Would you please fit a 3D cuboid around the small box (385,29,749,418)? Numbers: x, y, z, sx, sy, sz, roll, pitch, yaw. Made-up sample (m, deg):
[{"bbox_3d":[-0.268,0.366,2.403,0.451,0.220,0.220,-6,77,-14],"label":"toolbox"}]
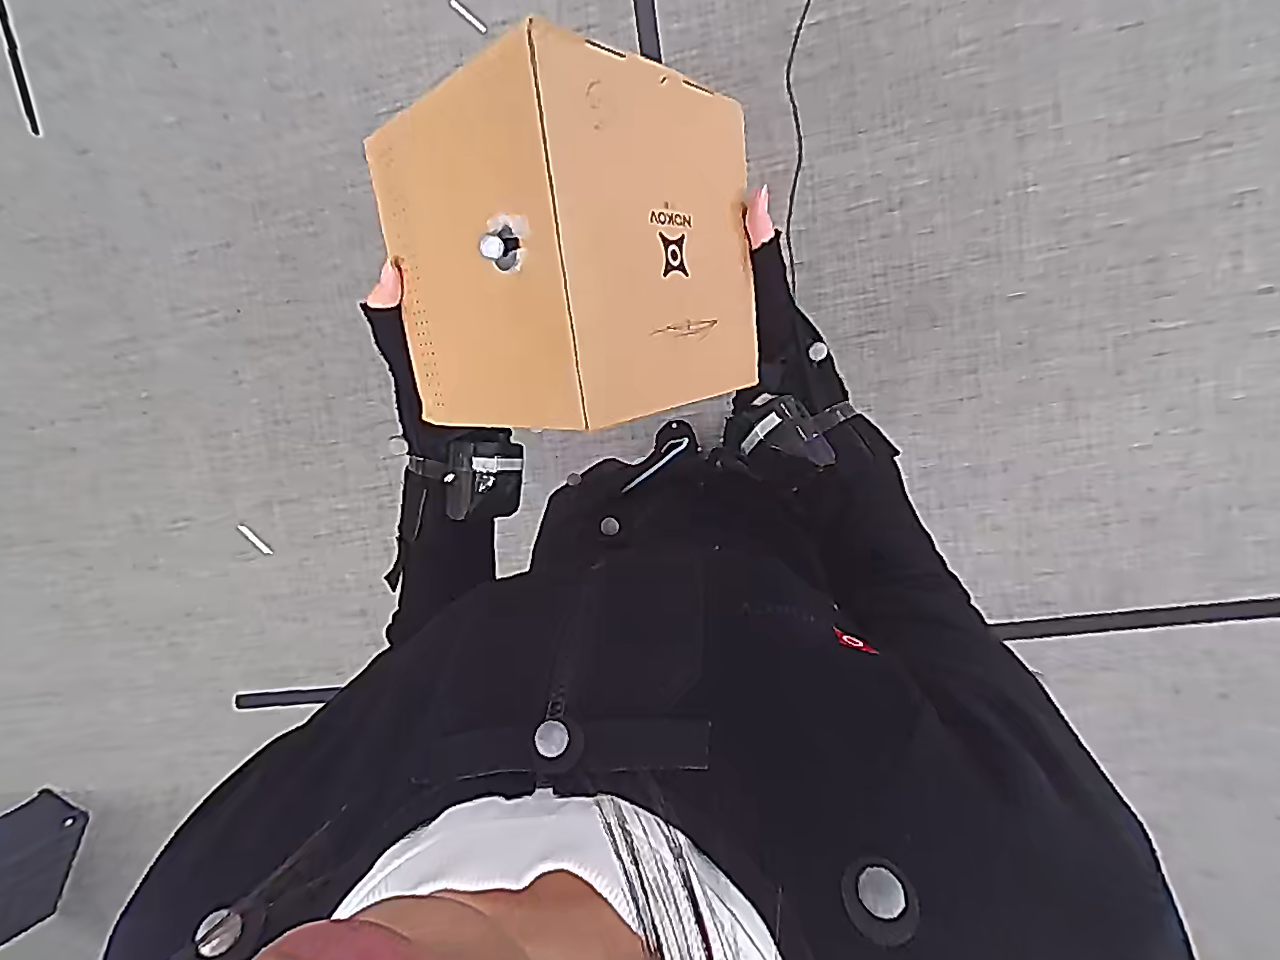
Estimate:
[{"bbox_3d":[-0.045,-0.140,0.364,0.176,0.168,0.179,7,110,42],"label":"small box"}]
